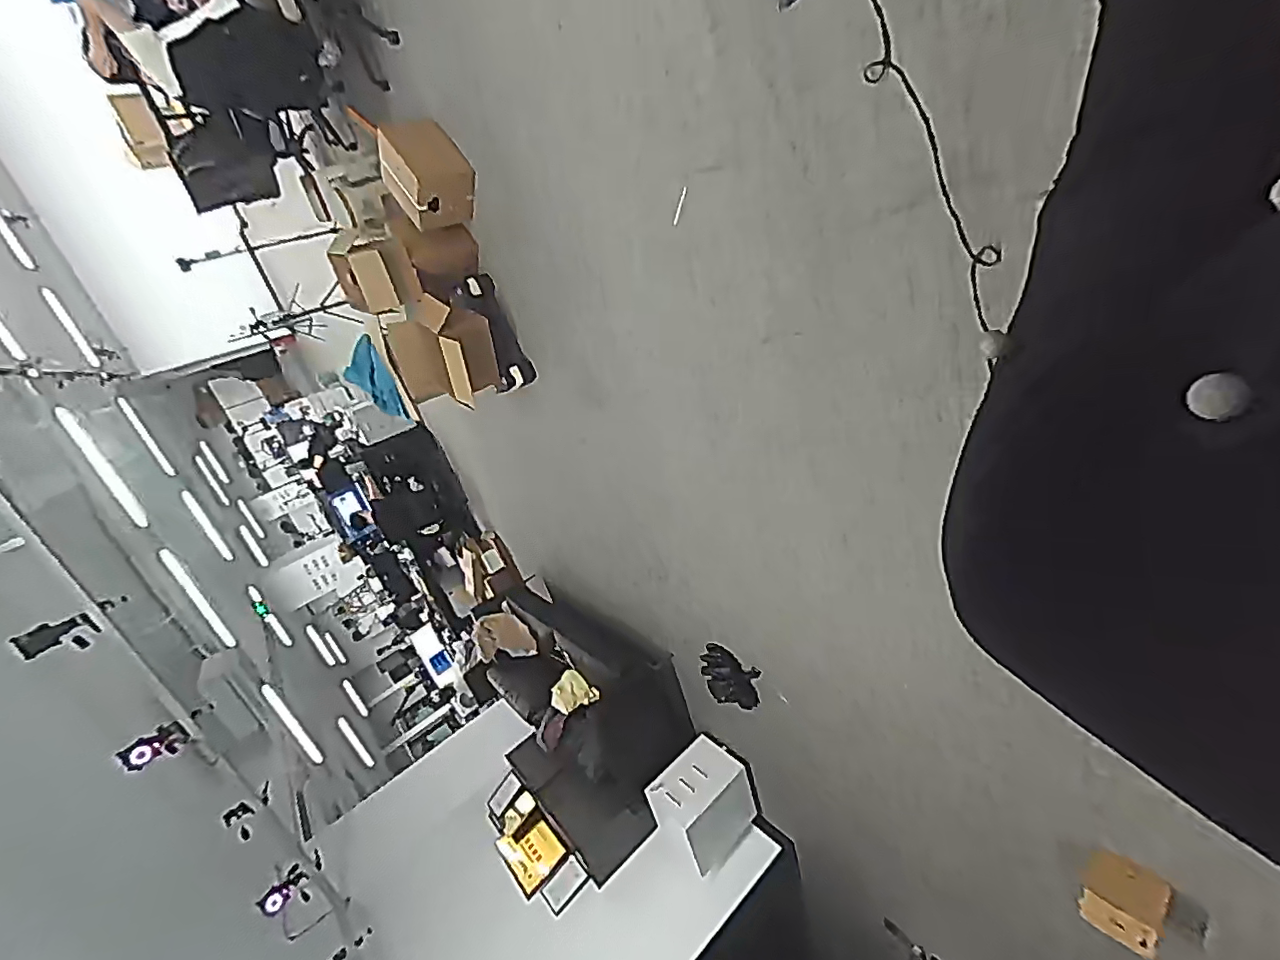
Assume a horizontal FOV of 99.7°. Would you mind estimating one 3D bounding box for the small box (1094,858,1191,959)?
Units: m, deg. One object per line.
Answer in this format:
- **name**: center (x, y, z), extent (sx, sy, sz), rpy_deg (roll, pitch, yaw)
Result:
- **small box**: center (1.548, 1.316, 1.668), extent (0.179, 0.176, 0.168), rpy_deg (17, 131, 51)
